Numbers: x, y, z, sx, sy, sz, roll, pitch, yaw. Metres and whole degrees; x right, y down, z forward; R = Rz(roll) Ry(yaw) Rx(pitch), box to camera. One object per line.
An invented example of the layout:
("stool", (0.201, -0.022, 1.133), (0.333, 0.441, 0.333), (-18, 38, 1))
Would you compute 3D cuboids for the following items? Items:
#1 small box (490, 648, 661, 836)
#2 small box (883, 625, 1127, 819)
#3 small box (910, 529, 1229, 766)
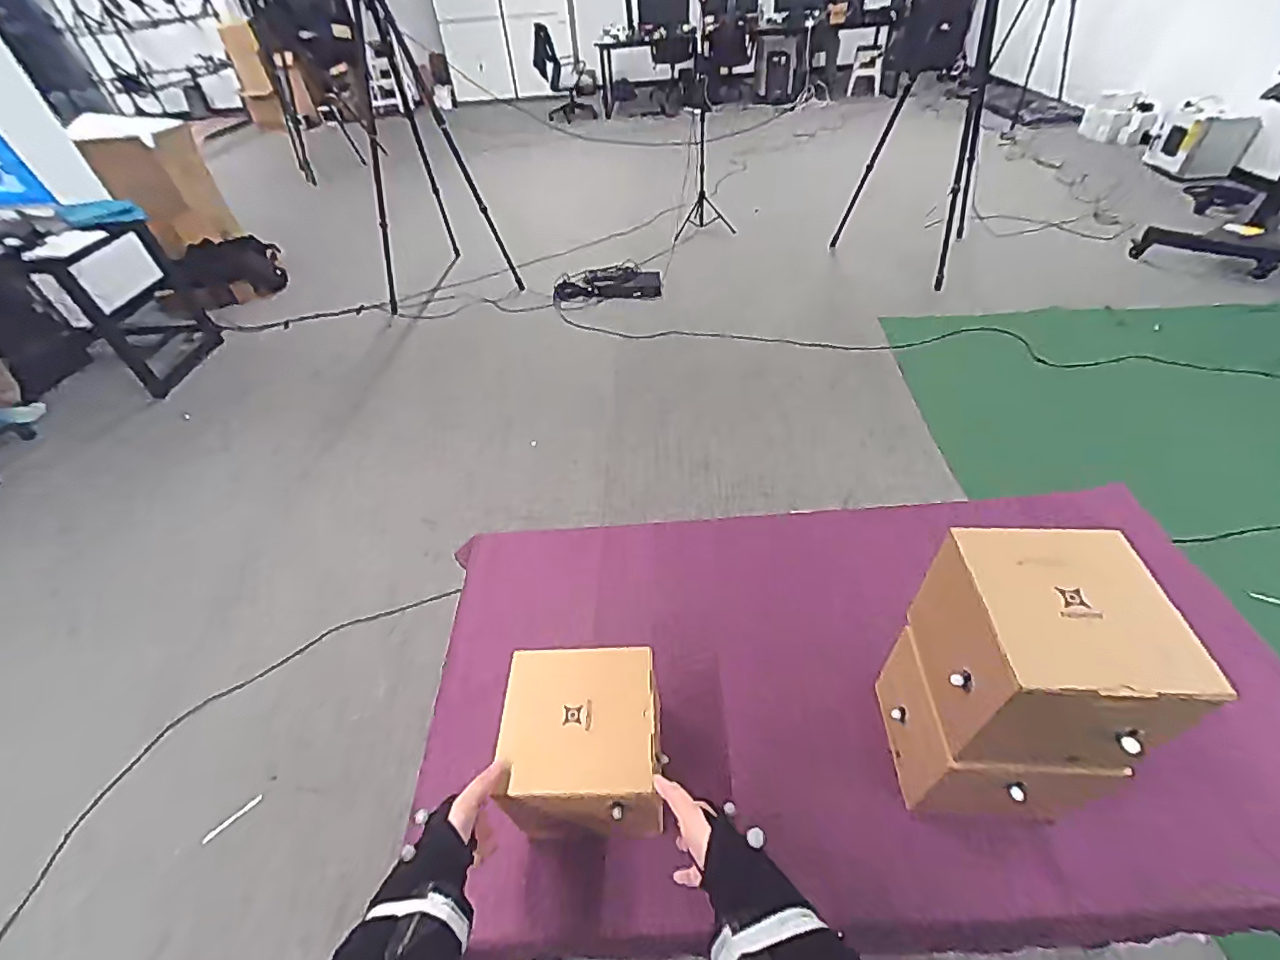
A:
("small box", (-0.066, 0.328, 0.675), (0.179, 0.176, 0.168), (-3, 43, 3))
("small box", (0.410, 0.292, 0.653), (0.179, 0.176, 0.168), (0, 45, 6))
("small box", (0.397, 0.169, 0.546), (0.168, 0.176, 0.179), (0, 44, 7))
